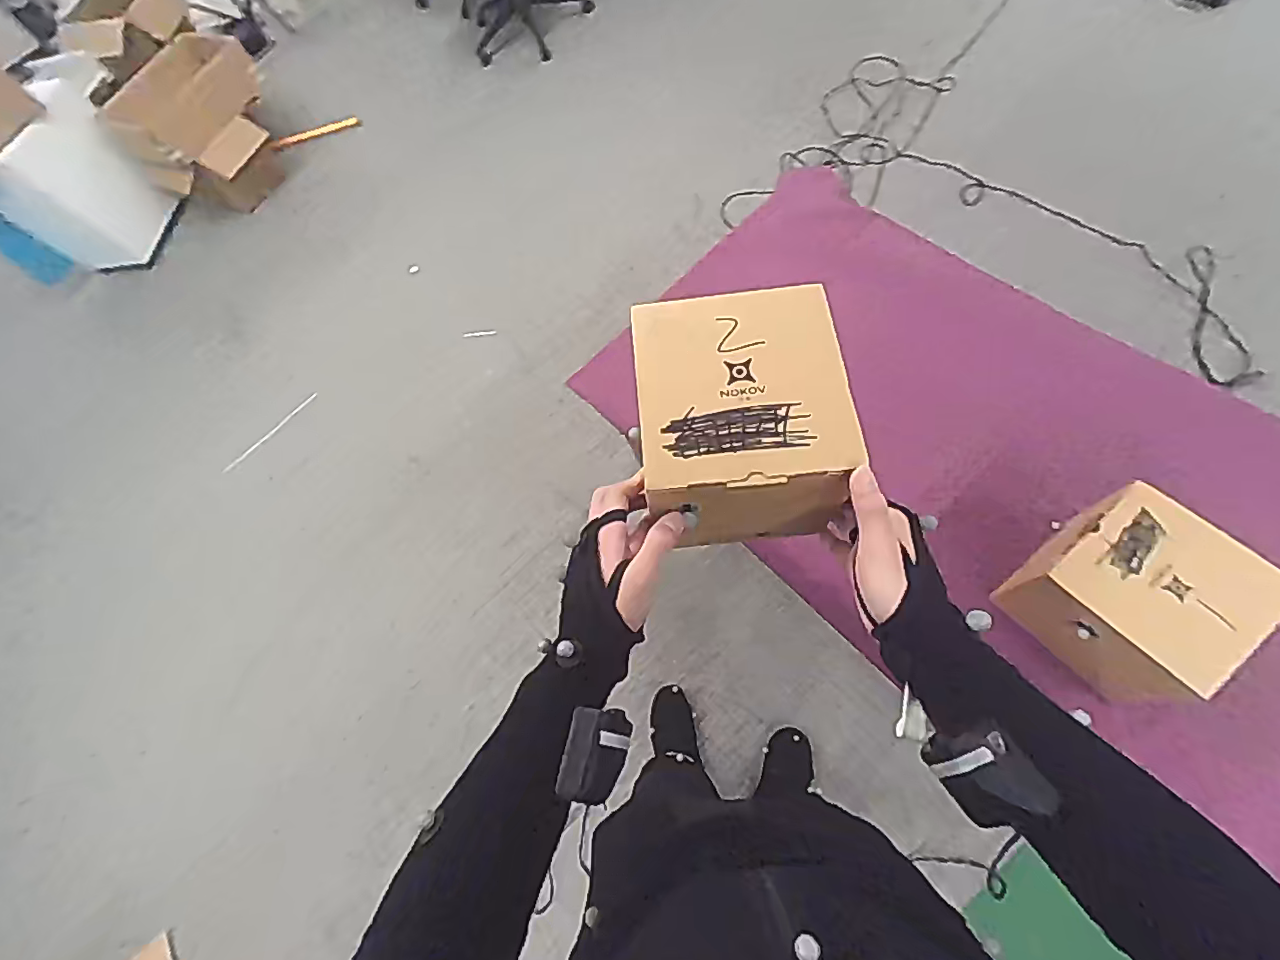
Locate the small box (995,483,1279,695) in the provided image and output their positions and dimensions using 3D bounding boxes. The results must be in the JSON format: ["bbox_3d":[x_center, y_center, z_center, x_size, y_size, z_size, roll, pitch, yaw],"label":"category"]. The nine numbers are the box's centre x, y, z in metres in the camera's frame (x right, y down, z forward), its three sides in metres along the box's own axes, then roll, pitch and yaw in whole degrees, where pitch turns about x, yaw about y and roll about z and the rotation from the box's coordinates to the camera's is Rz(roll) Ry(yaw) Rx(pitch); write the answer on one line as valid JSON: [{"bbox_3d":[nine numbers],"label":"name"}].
[{"bbox_3d":[0.583,0.140,0.654,0.168,0.176,0.179,-41,66,-5],"label":"small box"}]
